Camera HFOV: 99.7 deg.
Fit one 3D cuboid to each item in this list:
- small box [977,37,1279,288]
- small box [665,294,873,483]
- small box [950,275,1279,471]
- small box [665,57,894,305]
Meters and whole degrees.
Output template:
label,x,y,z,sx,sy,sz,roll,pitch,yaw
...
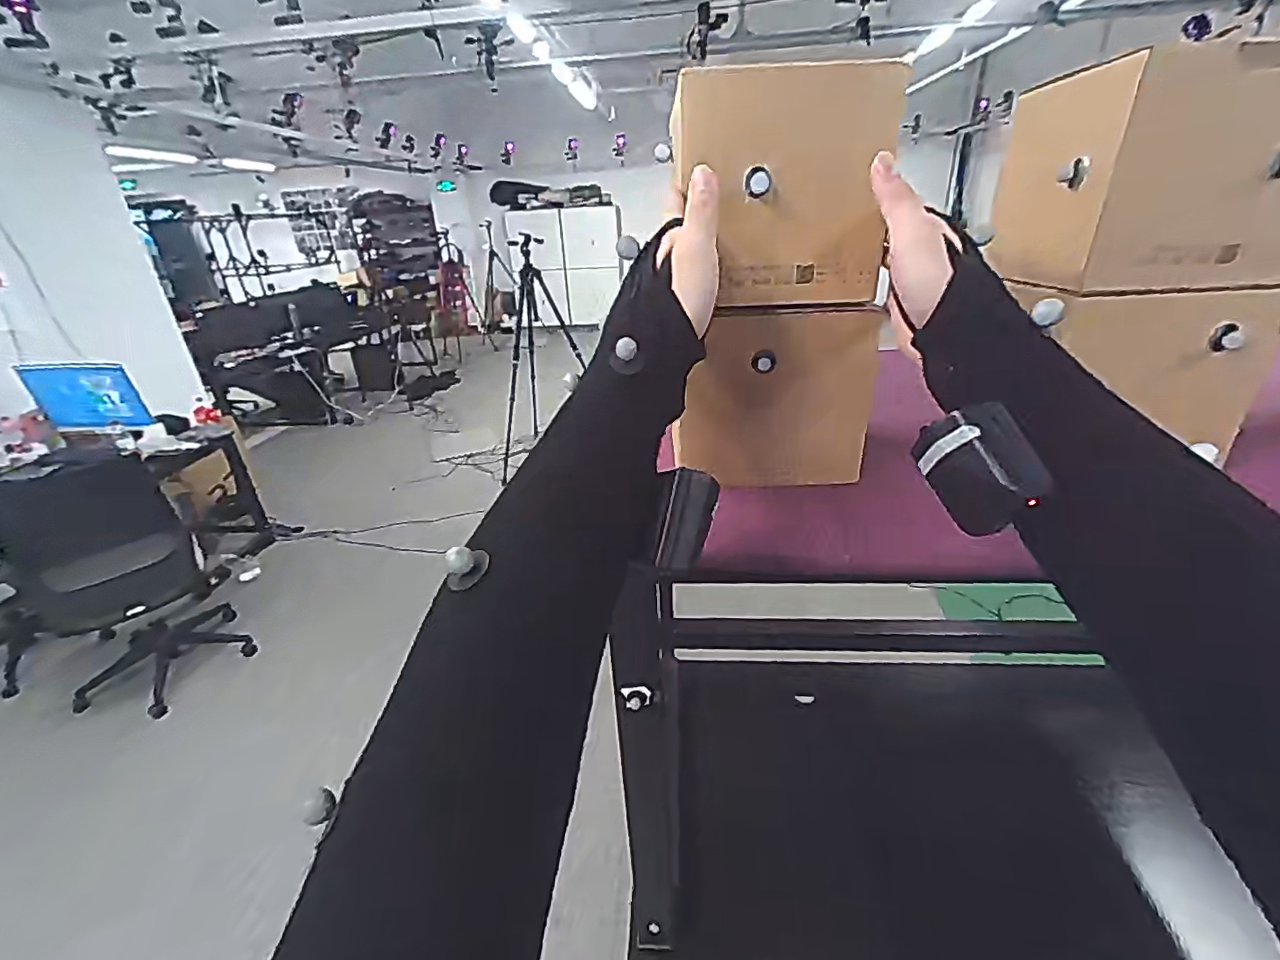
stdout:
label,x,y,z,sx,sy,sz,roll,pitch,yaw
small box,0.439,-0.265,0.483,0.168,0.176,0.179,0,25,5
small box,0.118,-0.103,0.563,0.179,0.176,0.168,-2,26,2
small box,0.449,-0.115,0.545,0.179,0.176,0.168,-1,25,6
small box,0.109,-0.254,0.495,0.168,0.176,0.179,-1,23,2
